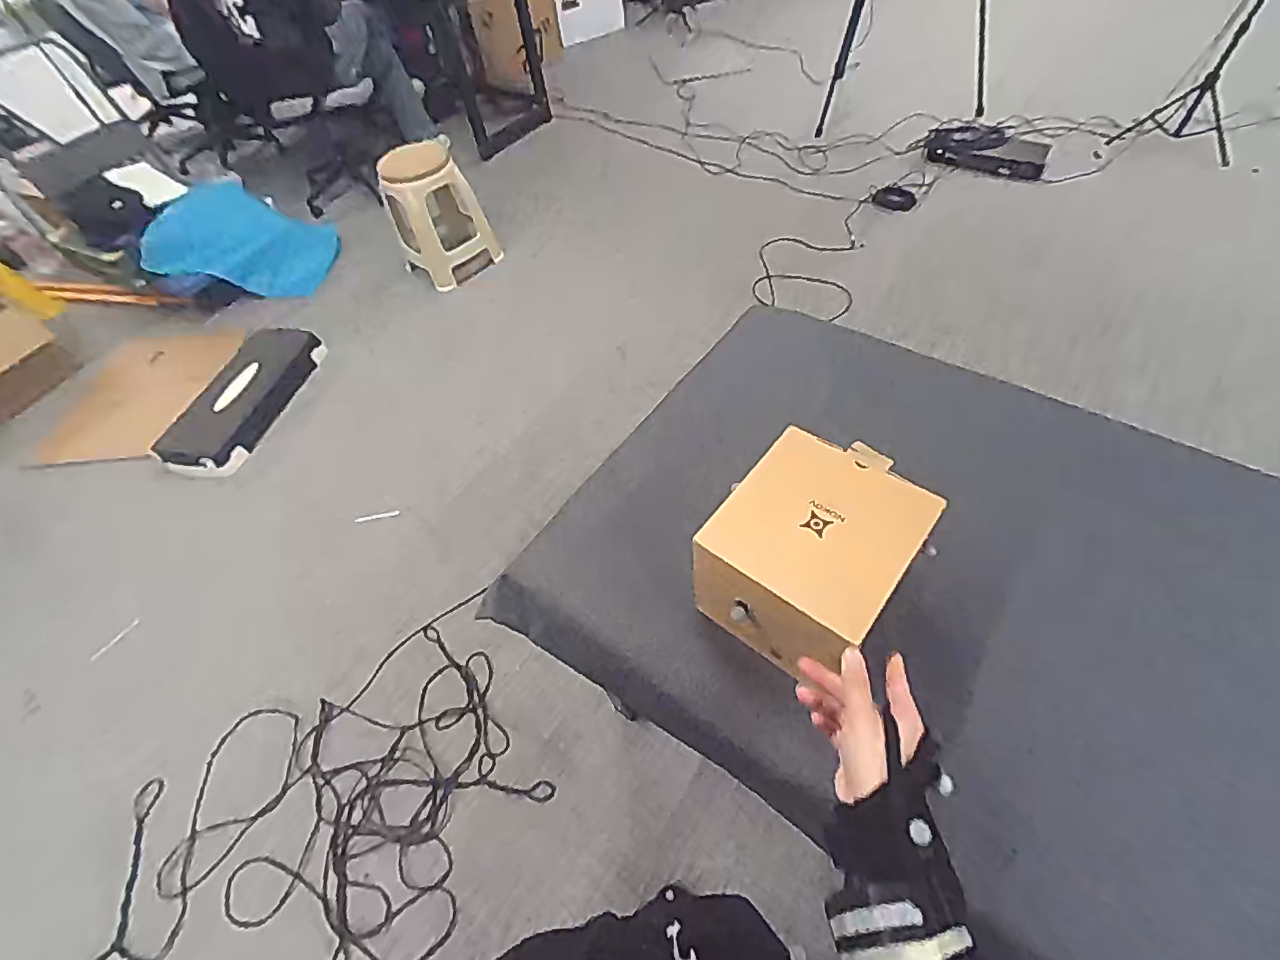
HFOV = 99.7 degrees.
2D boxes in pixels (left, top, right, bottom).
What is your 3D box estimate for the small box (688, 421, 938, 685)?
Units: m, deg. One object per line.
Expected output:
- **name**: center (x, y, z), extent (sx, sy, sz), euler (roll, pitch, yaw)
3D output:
- **small box**: center (0.168, 0.079, 0.559), extent (0.168, 0.176, 0.179), euler (31, 62, 26)
